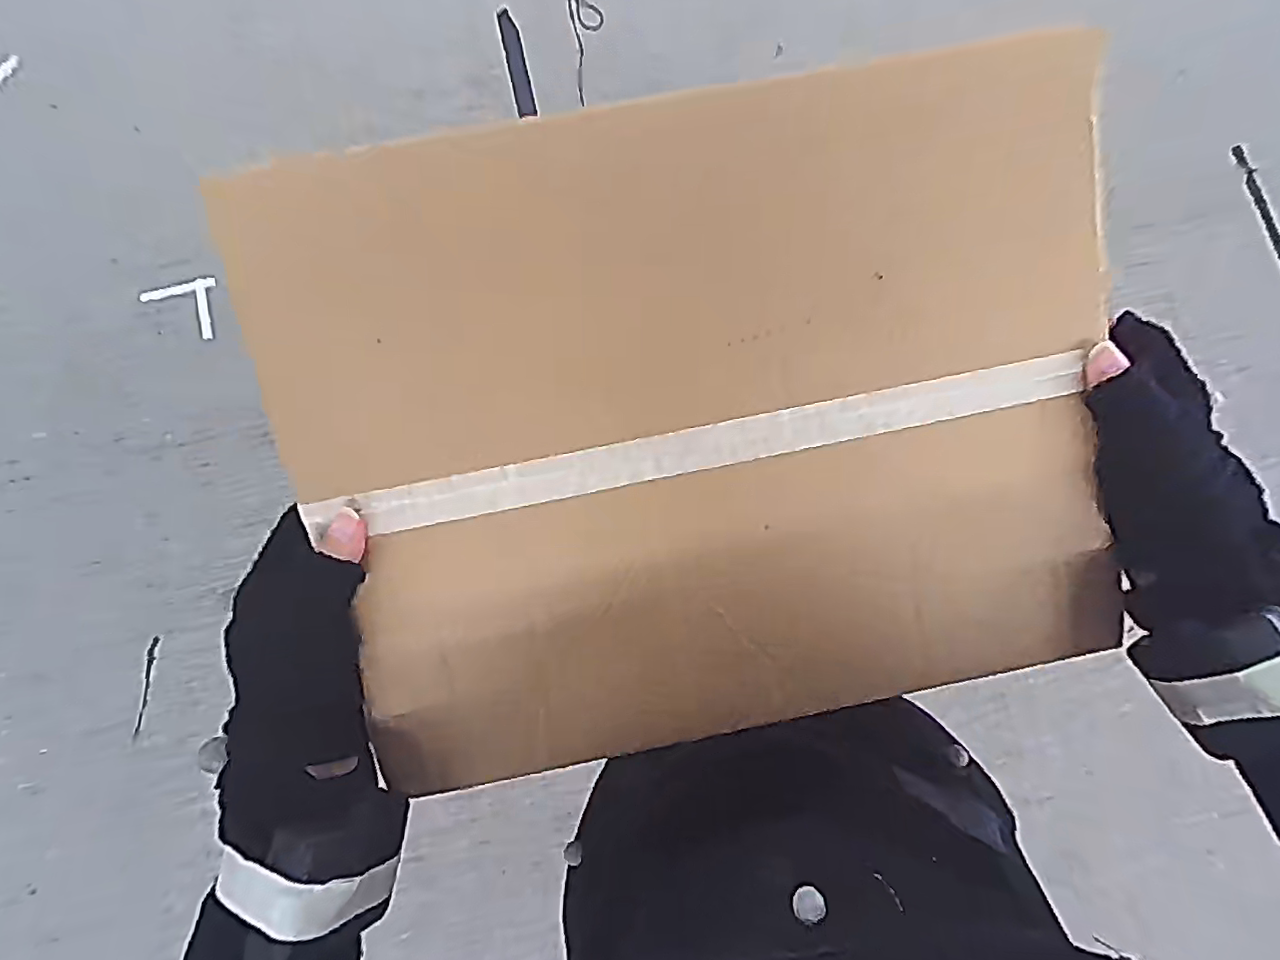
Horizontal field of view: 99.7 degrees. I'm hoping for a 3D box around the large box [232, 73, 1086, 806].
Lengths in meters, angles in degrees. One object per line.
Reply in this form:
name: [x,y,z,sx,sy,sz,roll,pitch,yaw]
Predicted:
large box: [0.028,-0.033,0.424,0.408,0.320,0.320,-12,100,-2]
